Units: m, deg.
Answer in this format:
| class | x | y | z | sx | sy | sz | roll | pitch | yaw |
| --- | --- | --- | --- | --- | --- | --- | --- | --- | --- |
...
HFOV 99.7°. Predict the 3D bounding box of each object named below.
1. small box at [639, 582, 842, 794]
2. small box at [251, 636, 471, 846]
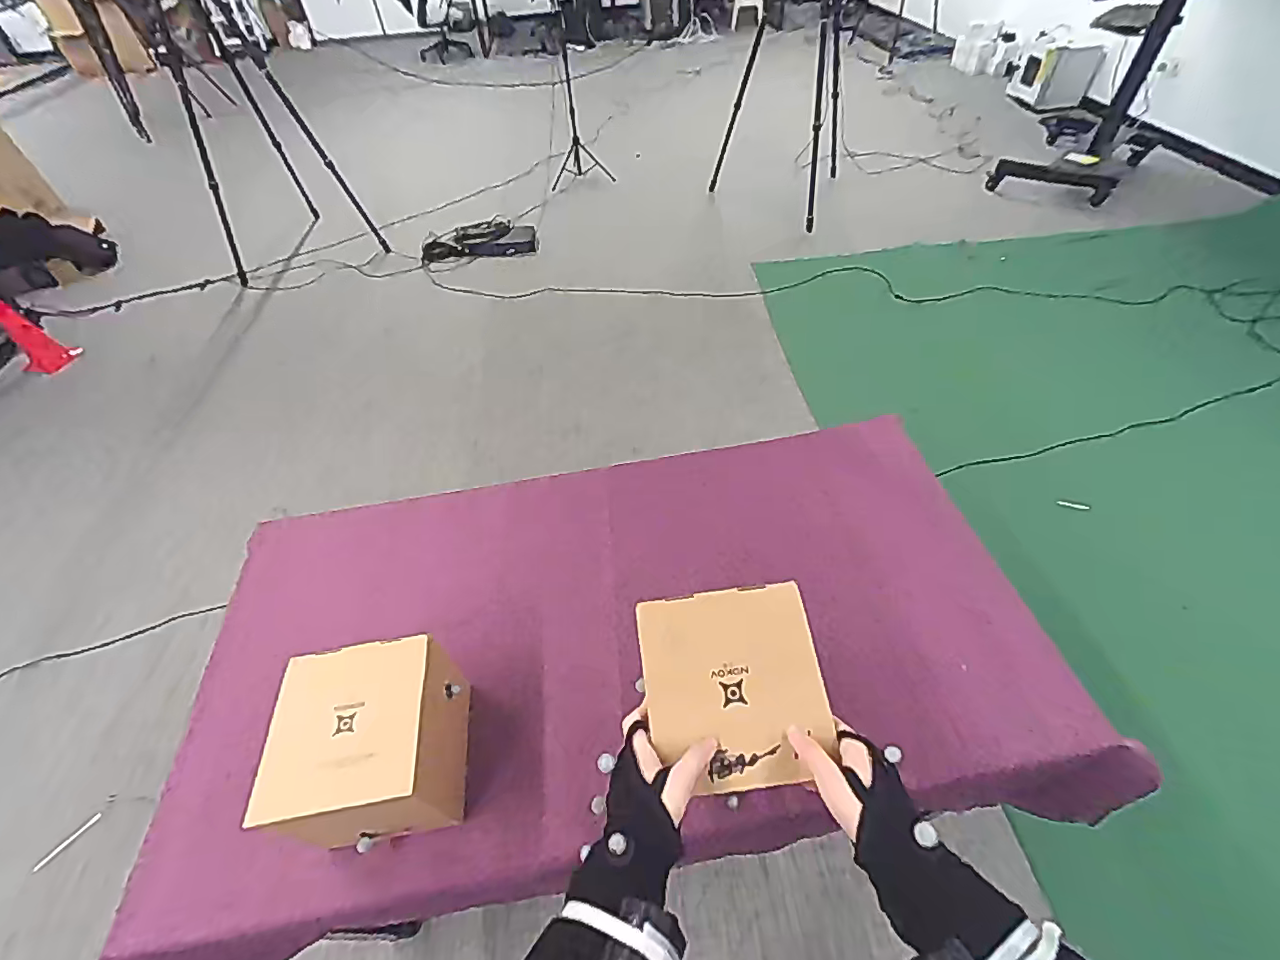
| class | x | y | z | sx | sy | sz | roll | pitch | yaw |
| --- | --- | --- | --- | --- | --- | --- | --- | --- | --- |
| small box | 0.094 | 0.225 | 0.580 | 0.168 | 0.176 | 0.179 | -9 | 63 | 2 |
| small box | -0.310 | 0.315 | 0.650 | 0.168 | 0.176 | 0.179 | -9 | 50 | -2 |
